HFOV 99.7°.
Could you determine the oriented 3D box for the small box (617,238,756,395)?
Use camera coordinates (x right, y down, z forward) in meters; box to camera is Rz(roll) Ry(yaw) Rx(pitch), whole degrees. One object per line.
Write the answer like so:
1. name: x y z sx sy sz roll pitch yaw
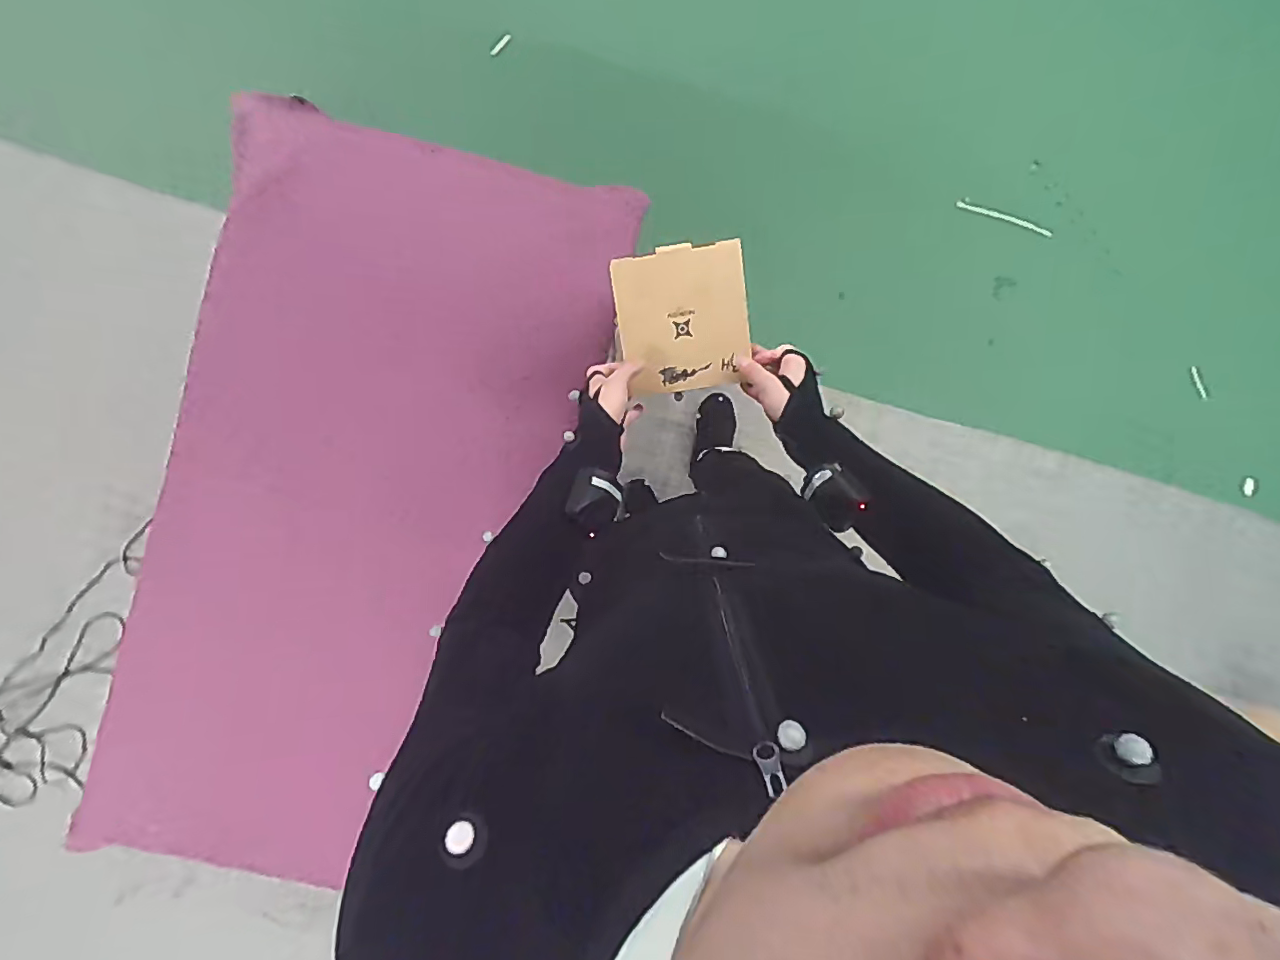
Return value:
1. small box: 0.066 -0.221 0.756 0.168 0.176 0.179 -5 104 7
